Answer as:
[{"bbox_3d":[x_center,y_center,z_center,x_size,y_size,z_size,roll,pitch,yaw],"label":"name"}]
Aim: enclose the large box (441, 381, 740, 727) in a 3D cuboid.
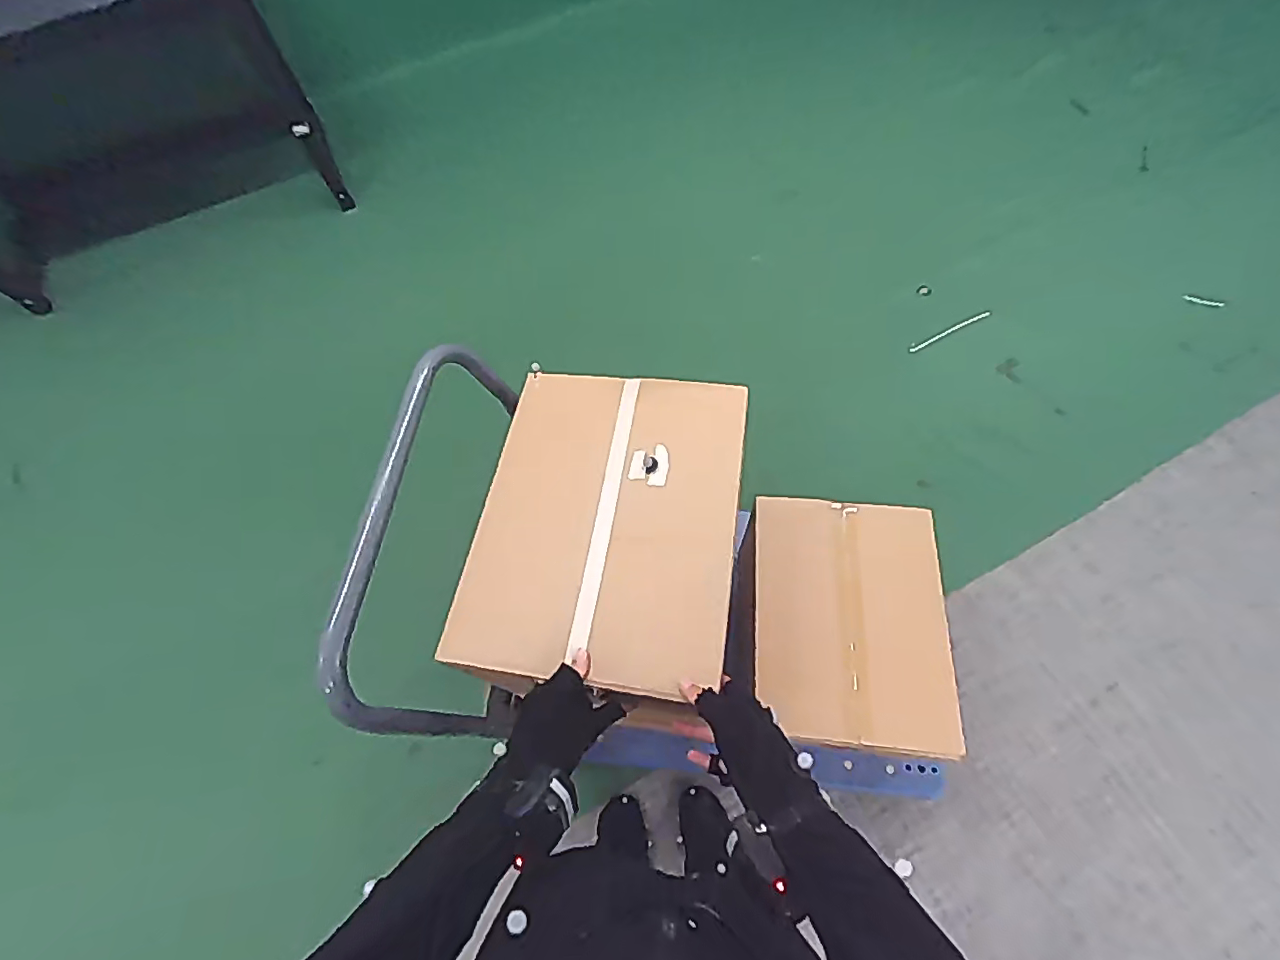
[{"bbox_3d":[-0.029,0.115,0.793,0.320,0.320,0.408,6,62,9],"label":"large box"}]
